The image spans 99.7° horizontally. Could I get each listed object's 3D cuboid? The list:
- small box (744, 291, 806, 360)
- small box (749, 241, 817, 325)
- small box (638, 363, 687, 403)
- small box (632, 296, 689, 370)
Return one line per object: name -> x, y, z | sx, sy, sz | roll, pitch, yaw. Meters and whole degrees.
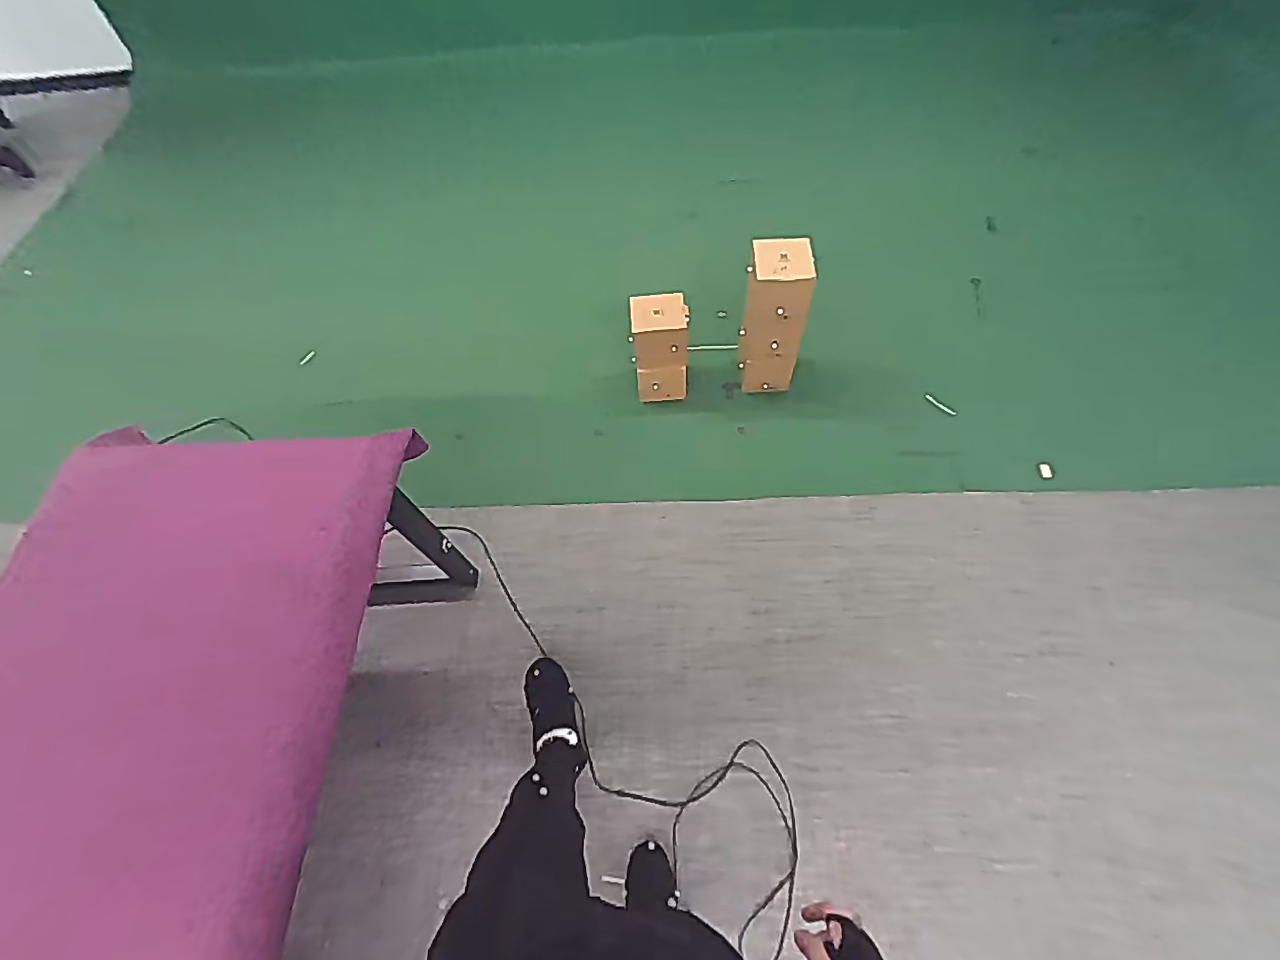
small box -> 0.436, -0.509, 1.769 | 0.168, 0.176, 0.179 | -1, 62, 3
small box -> 0.422, -0.591, 1.627 | 0.168, 0.176, 0.179 | 0, 61, 4
small box -> 0.079, -0.388, 1.918 | 0.168, 0.176, 0.179 | -4, 59, 2
small box -> 0.068, -0.482, 1.786 | 0.179, 0.176, 0.168 | -4, 59, 3
